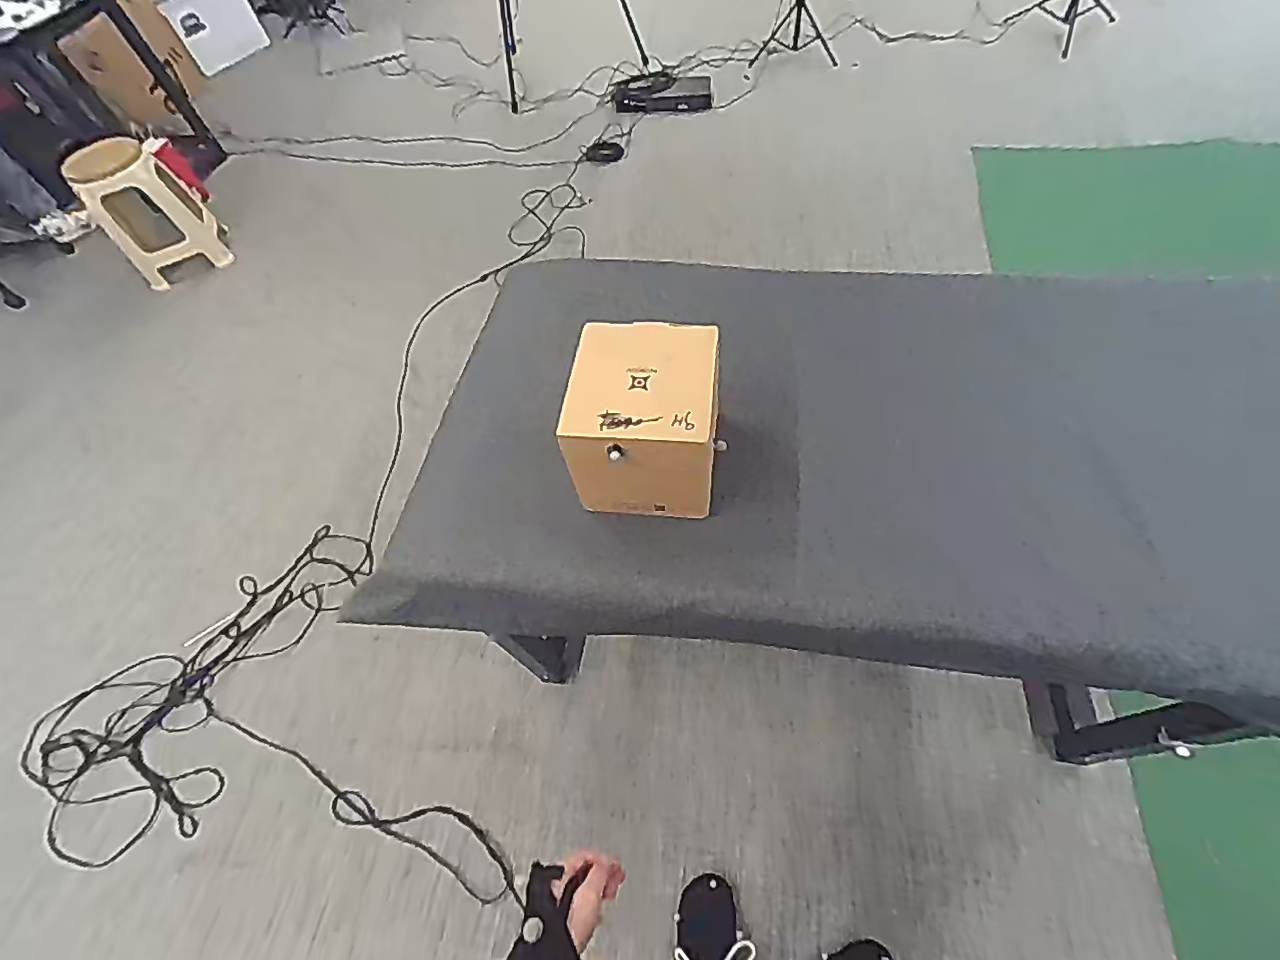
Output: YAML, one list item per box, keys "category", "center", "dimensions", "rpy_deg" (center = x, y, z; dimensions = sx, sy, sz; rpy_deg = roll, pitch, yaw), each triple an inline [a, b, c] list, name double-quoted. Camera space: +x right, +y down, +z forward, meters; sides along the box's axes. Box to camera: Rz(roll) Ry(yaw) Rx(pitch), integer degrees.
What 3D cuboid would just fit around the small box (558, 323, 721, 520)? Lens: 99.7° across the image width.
- category: "small box"
  center: [0.010, -0.071, 0.677]
  dimensions: [0.168, 0.176, 0.179]
  rpy_deg: [4, 58, 9]
